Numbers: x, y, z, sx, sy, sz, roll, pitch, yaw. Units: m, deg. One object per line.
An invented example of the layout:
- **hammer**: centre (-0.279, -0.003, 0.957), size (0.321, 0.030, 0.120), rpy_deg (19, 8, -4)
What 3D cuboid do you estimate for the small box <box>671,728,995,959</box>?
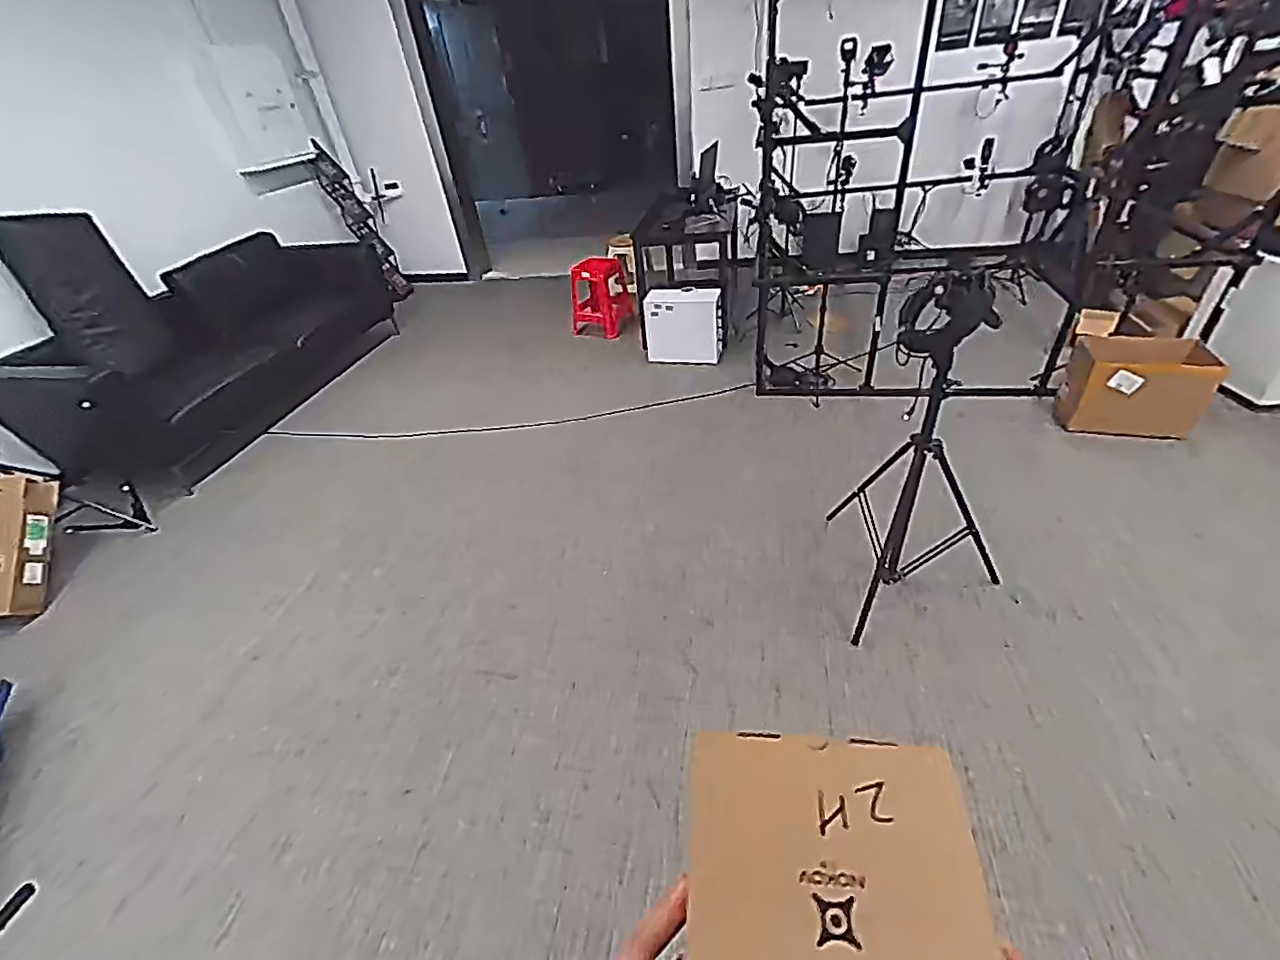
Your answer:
- **small box**: centre (0.106, 0.284, 0.351), size (0.168, 0.176, 0.179), rpy_deg (1, 46, 6)
